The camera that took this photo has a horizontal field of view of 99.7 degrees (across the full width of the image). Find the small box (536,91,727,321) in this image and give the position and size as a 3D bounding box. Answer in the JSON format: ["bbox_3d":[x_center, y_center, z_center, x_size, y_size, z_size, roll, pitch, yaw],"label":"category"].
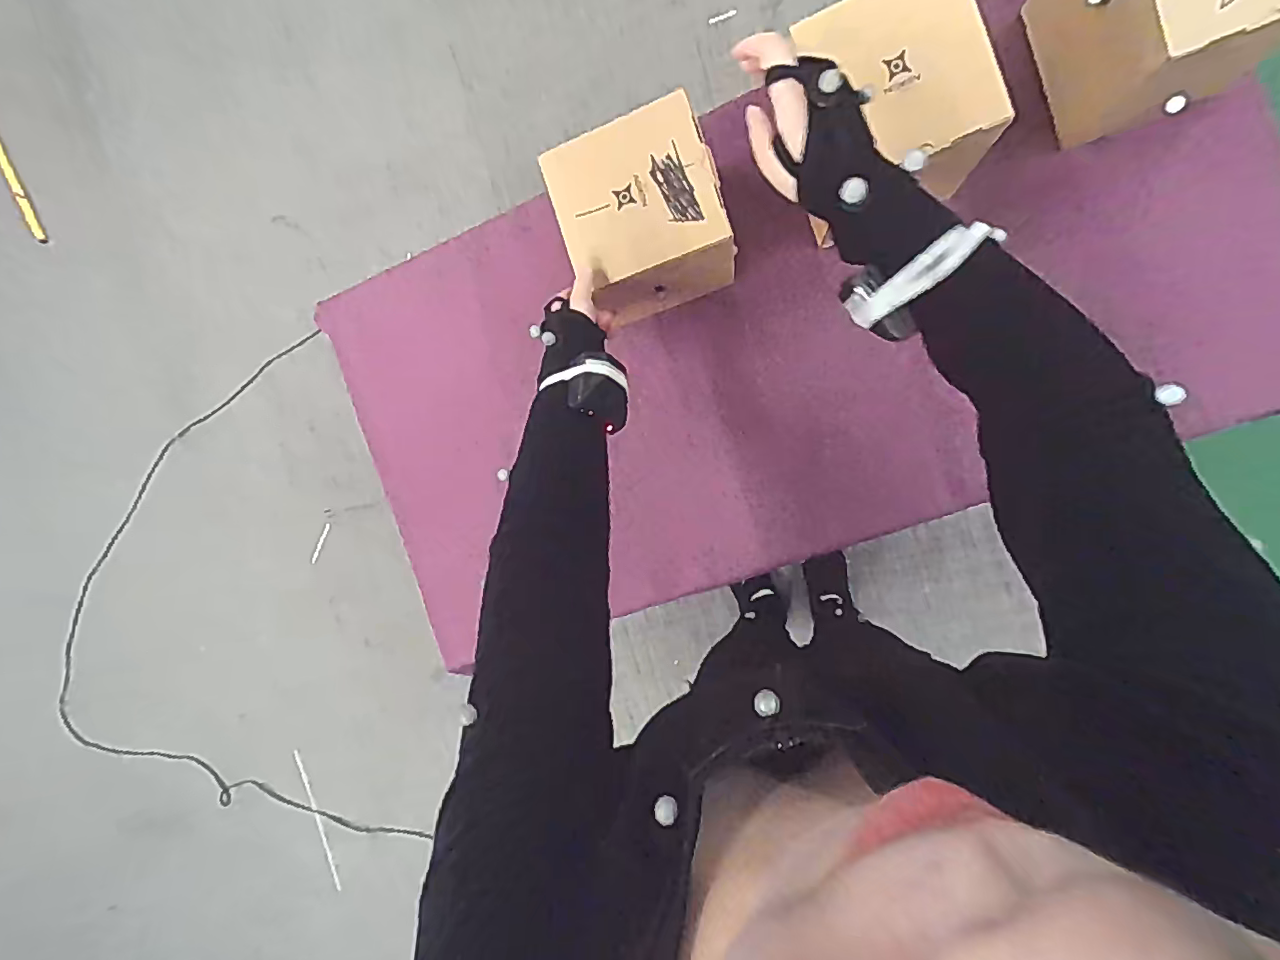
[{"bbox_3d":[0.002,-0.314,0.662,0.179,0.176,0.168,-18,90,12],"label":"small box"}]

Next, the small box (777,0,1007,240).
[{"bbox_3d":[0.262,-0.408,0.609,0.168,0.176,0.179,-19,91,11],"label":"small box"}]

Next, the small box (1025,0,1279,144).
[{"bbox_3d":[0.532,-0.492,0.547,0.168,0.176,0.179,-17,93,12],"label":"small box"}]
